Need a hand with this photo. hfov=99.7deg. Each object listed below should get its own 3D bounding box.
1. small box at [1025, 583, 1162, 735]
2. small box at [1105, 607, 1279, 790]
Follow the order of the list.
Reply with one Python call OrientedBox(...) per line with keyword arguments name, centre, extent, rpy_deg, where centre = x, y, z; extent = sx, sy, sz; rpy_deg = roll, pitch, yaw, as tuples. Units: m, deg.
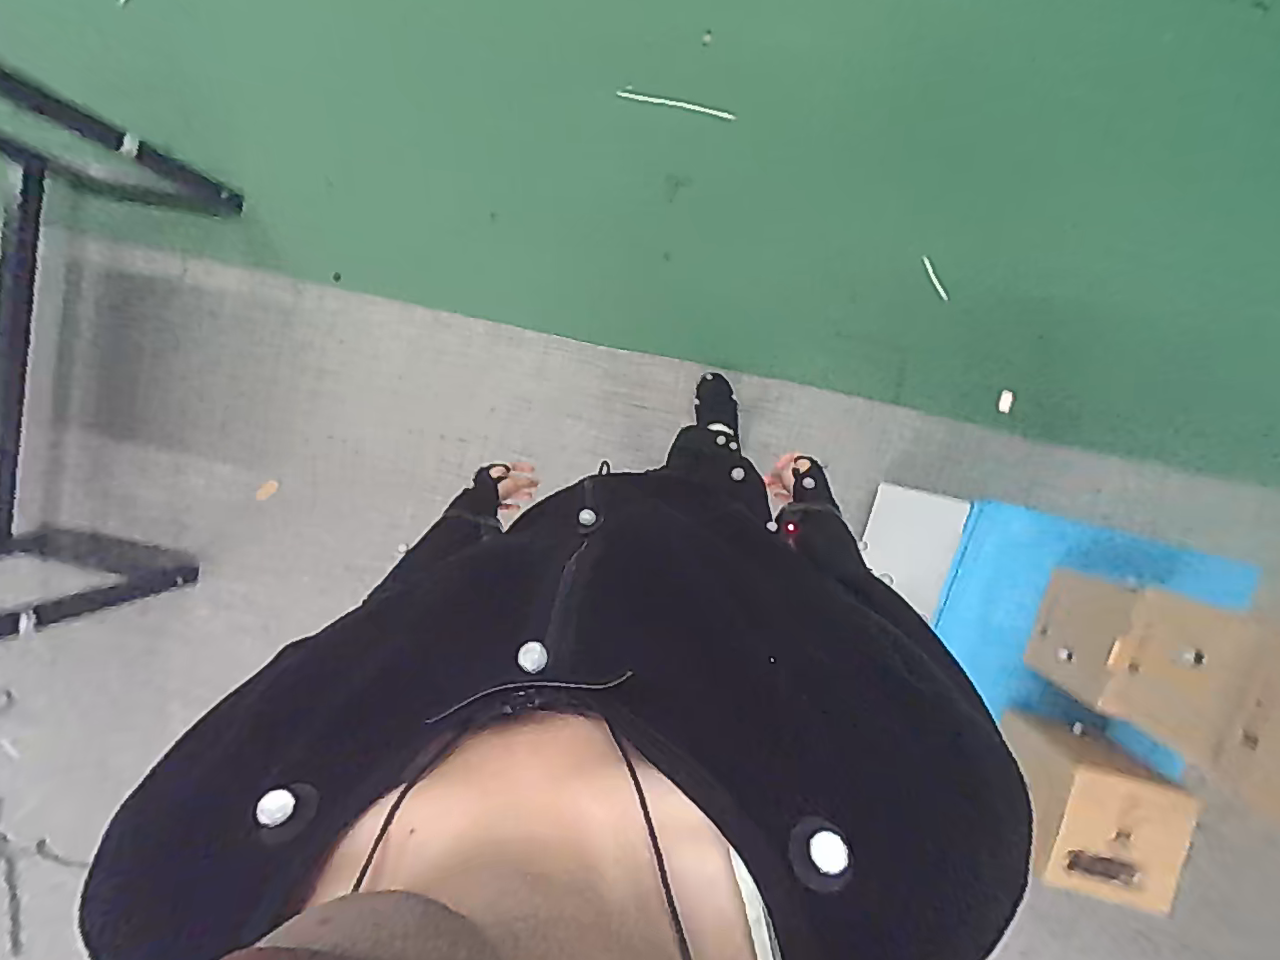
OrientedBox(name="small box", centre=(0.709, 0.261, 0.780), extent=(0.179, 0.176, 0.168), rpy_deg=(16, 96, 3))
OrientedBox(name="small box", centre=(0.699, 0.261, 0.618), extent=(0.179, 0.176, 0.168), rpy_deg=(17, 96, 2))
